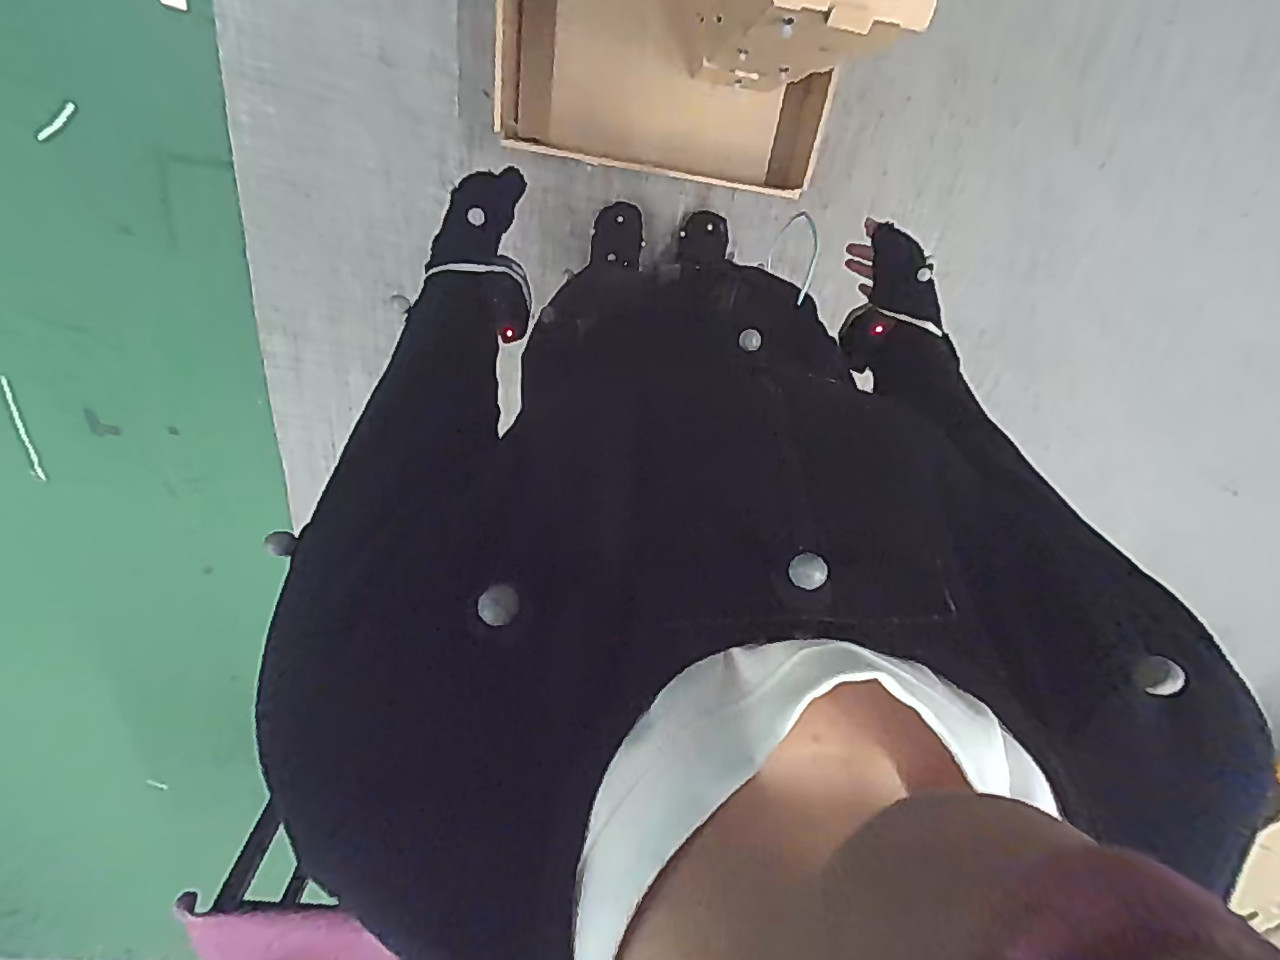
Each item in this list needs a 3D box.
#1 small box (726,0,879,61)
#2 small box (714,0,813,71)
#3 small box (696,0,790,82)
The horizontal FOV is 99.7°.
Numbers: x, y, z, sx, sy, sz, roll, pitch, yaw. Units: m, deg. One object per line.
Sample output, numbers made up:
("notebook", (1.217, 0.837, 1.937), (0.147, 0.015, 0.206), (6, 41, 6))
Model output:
("small box", (0.218, -0.674, 0.701), (0.168, 0.176, 0.179), (8, 120, -7))
("small box", (0.216, -0.753, 0.825), (0.168, 0.176, 0.179), (7, 119, -6))
("small box", (0.197, -0.845, 0.981), (0.168, 0.176, 0.179), (4, 119, -3))
